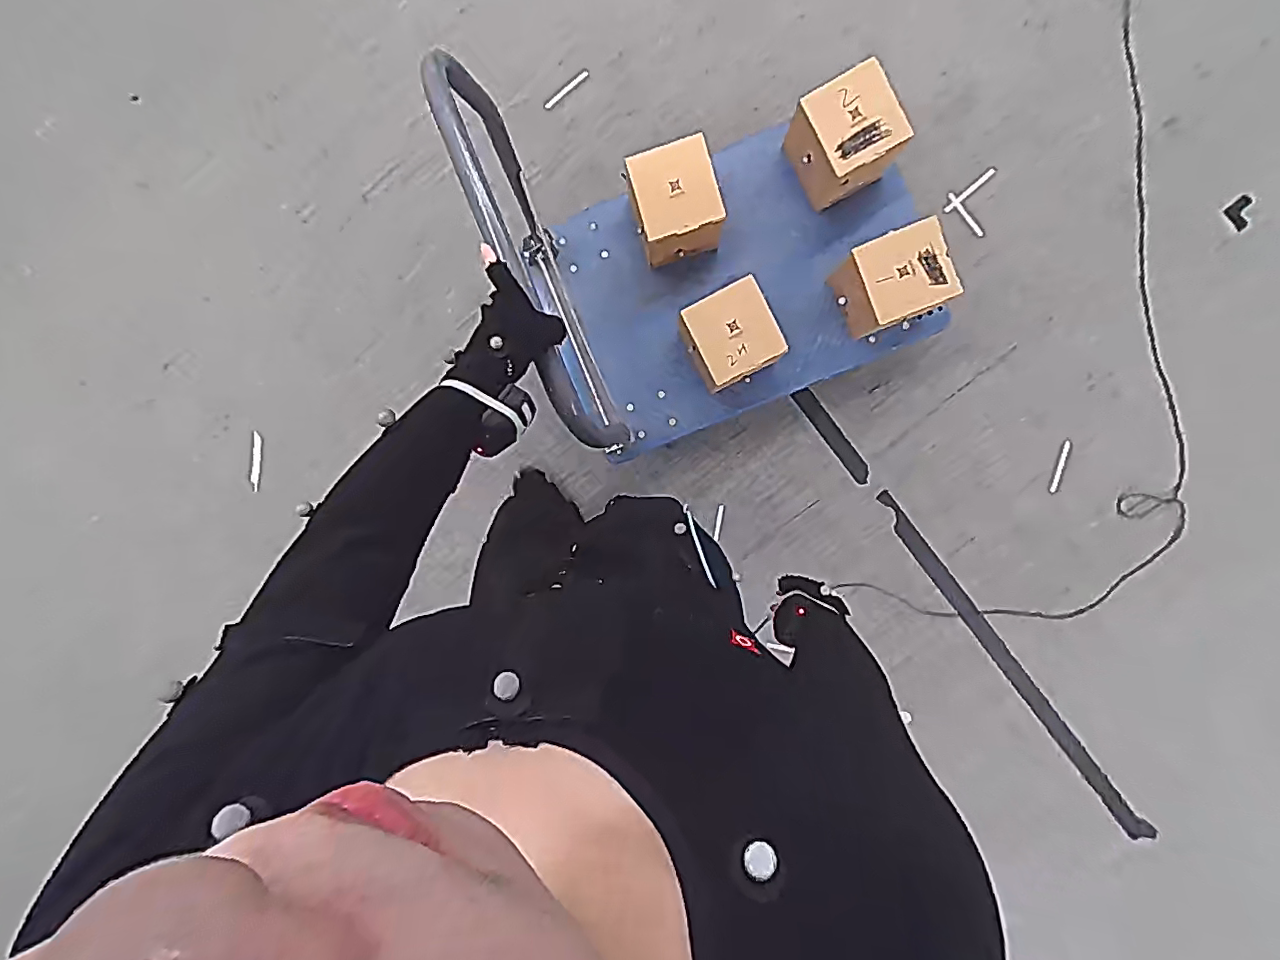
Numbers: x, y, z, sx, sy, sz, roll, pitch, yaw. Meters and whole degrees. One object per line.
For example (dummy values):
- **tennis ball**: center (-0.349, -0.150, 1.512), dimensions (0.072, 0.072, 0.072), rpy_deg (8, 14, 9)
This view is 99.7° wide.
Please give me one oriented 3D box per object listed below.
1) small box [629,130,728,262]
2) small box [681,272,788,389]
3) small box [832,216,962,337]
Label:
- **small box**: center (0.078, -0.600, 1.164), dimensions (0.168, 0.176, 0.179), rpy_deg (-17, 95, 4)
- **small box**: center (0.197, -0.316, 1.179), dimensions (0.168, 0.176, 0.179), rpy_deg (-26, 93, 5)
- **small box**: center (0.538, -0.424, 1.154), dimensions (0.179, 0.176, 0.168), rpy_deg (-20, 93, 5)
